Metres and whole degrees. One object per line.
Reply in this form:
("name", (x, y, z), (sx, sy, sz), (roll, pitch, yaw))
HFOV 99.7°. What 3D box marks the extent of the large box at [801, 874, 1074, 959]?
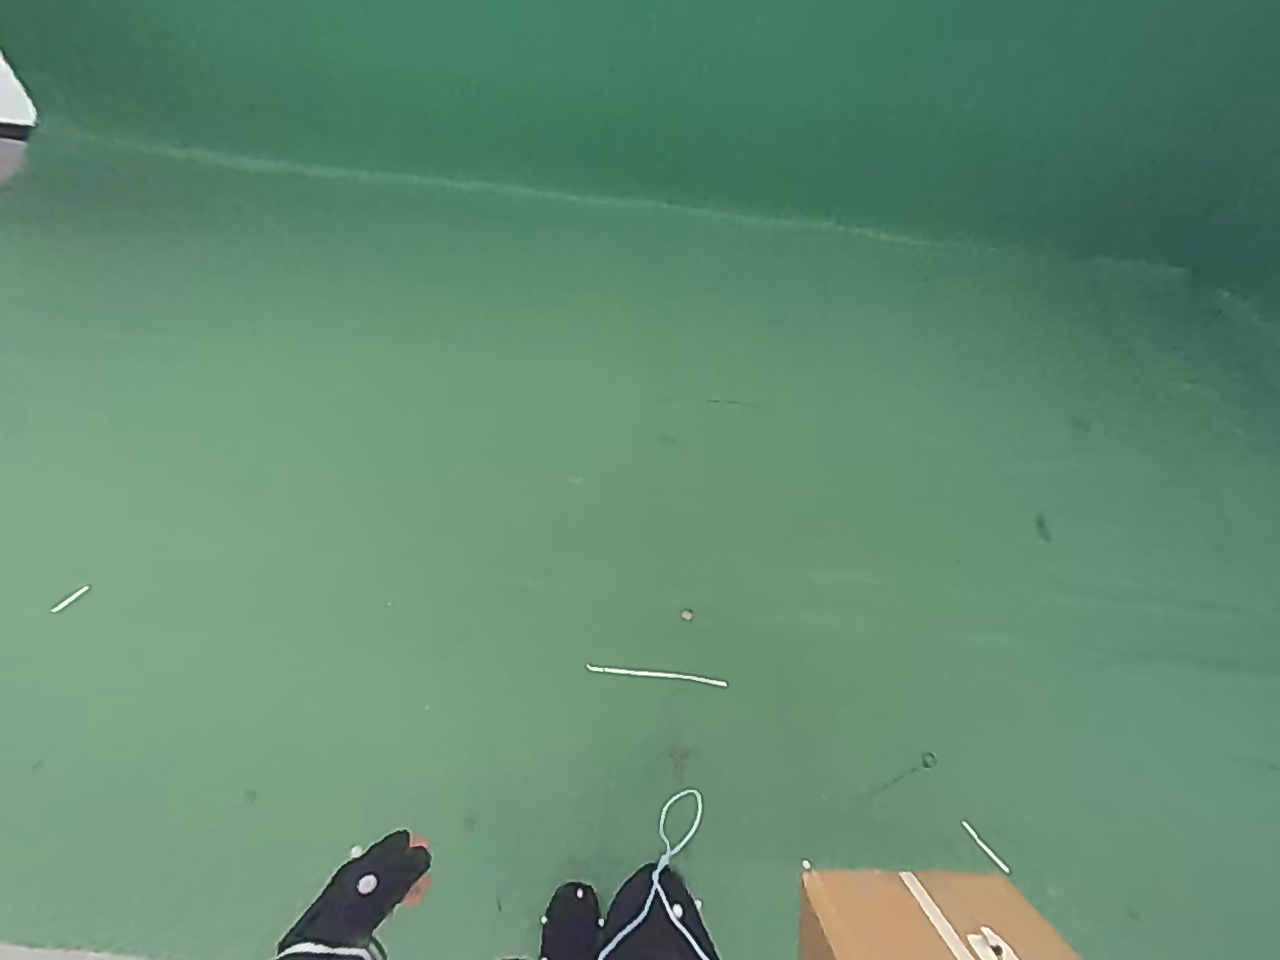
("large box", (0.398, 0.755, 0.621), (0.320, 0.408, 0.320), (3, 90, -1))
